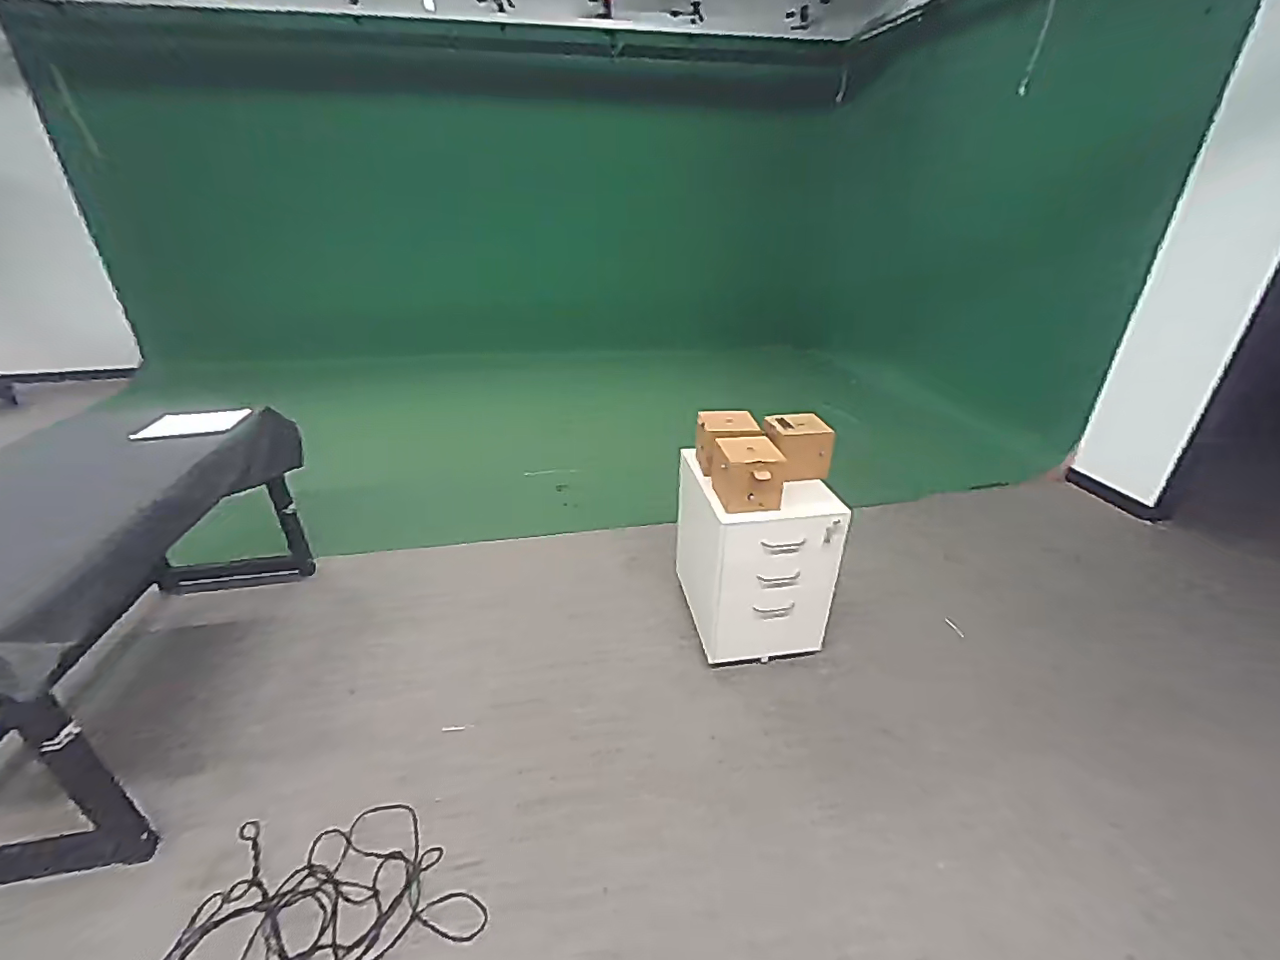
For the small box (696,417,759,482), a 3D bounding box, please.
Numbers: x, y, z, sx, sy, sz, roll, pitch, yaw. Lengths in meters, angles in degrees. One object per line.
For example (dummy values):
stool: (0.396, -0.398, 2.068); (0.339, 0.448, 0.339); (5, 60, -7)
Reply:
small box: (0.285, -0.102, 1.812); (0.179, 0.176, 0.168); (-1, 29, -5)
